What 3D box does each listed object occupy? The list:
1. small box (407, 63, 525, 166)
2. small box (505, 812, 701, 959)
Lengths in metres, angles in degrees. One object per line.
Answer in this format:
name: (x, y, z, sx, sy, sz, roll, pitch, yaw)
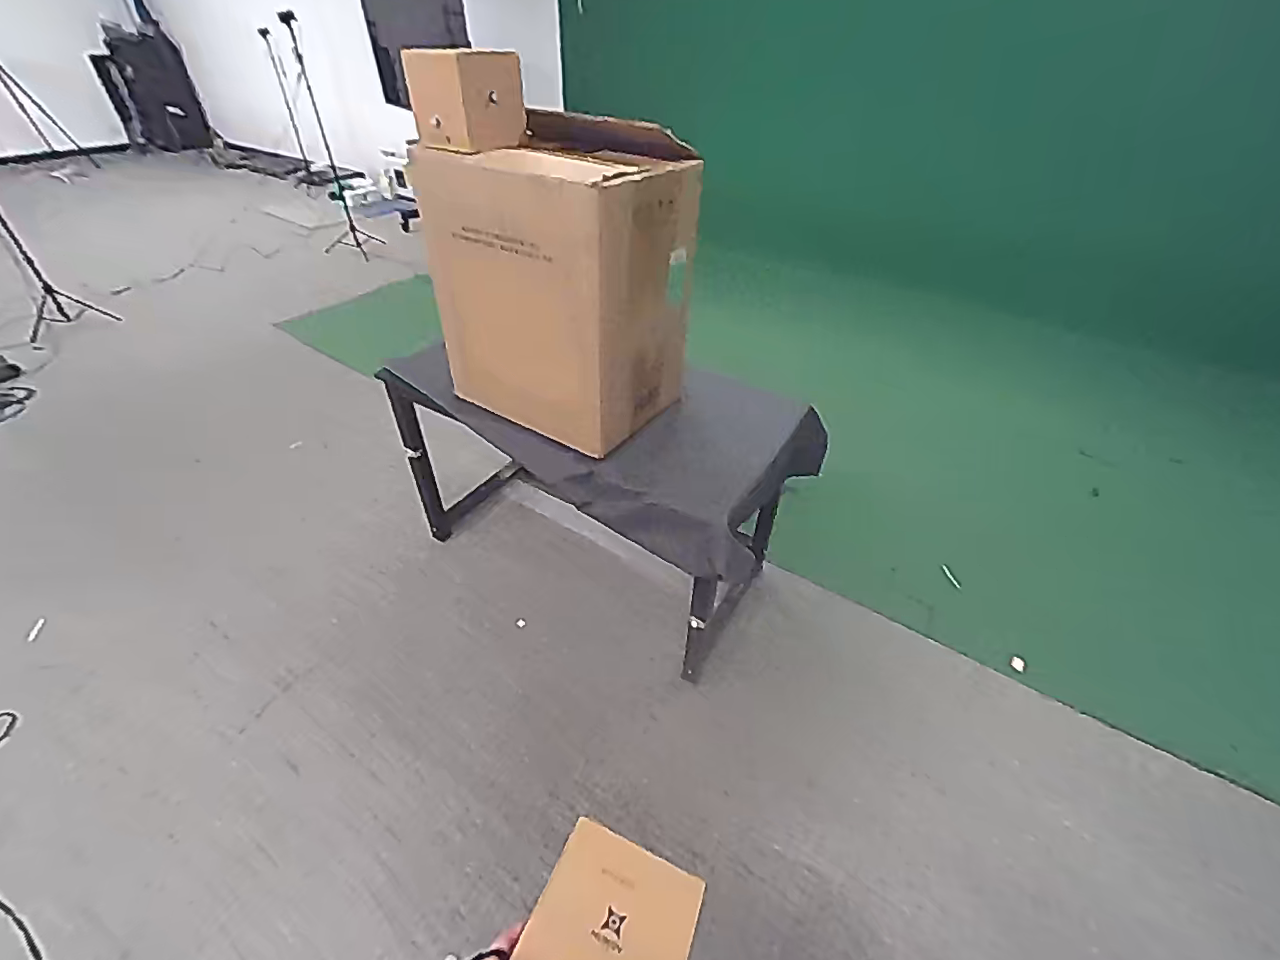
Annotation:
small box: (-0.369, -0.801, 1.181, 0.168, 0.176, 0.179, 23, 44, 26)
small box: (-0.047, 0.534, 0.608, 0.168, 0.176, 0.179, 20, 26, 12)
